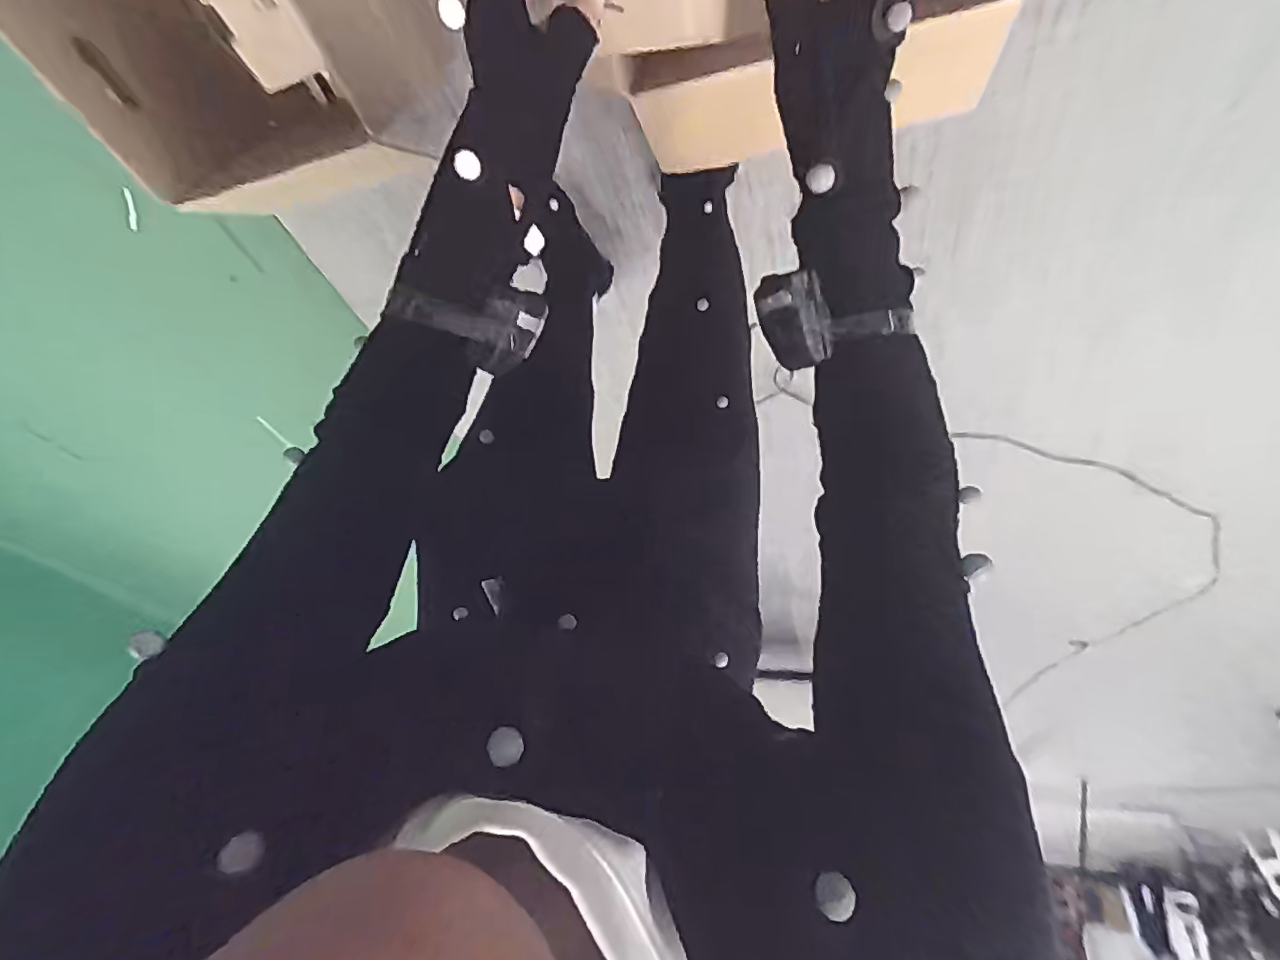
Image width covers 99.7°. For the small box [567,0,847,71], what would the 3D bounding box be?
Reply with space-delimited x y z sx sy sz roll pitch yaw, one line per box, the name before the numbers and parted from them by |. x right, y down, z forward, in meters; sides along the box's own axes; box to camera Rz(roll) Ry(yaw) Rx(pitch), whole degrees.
small box | 0.040 -0.394 0.339 0.179 0.176 0.168 0 145 10
